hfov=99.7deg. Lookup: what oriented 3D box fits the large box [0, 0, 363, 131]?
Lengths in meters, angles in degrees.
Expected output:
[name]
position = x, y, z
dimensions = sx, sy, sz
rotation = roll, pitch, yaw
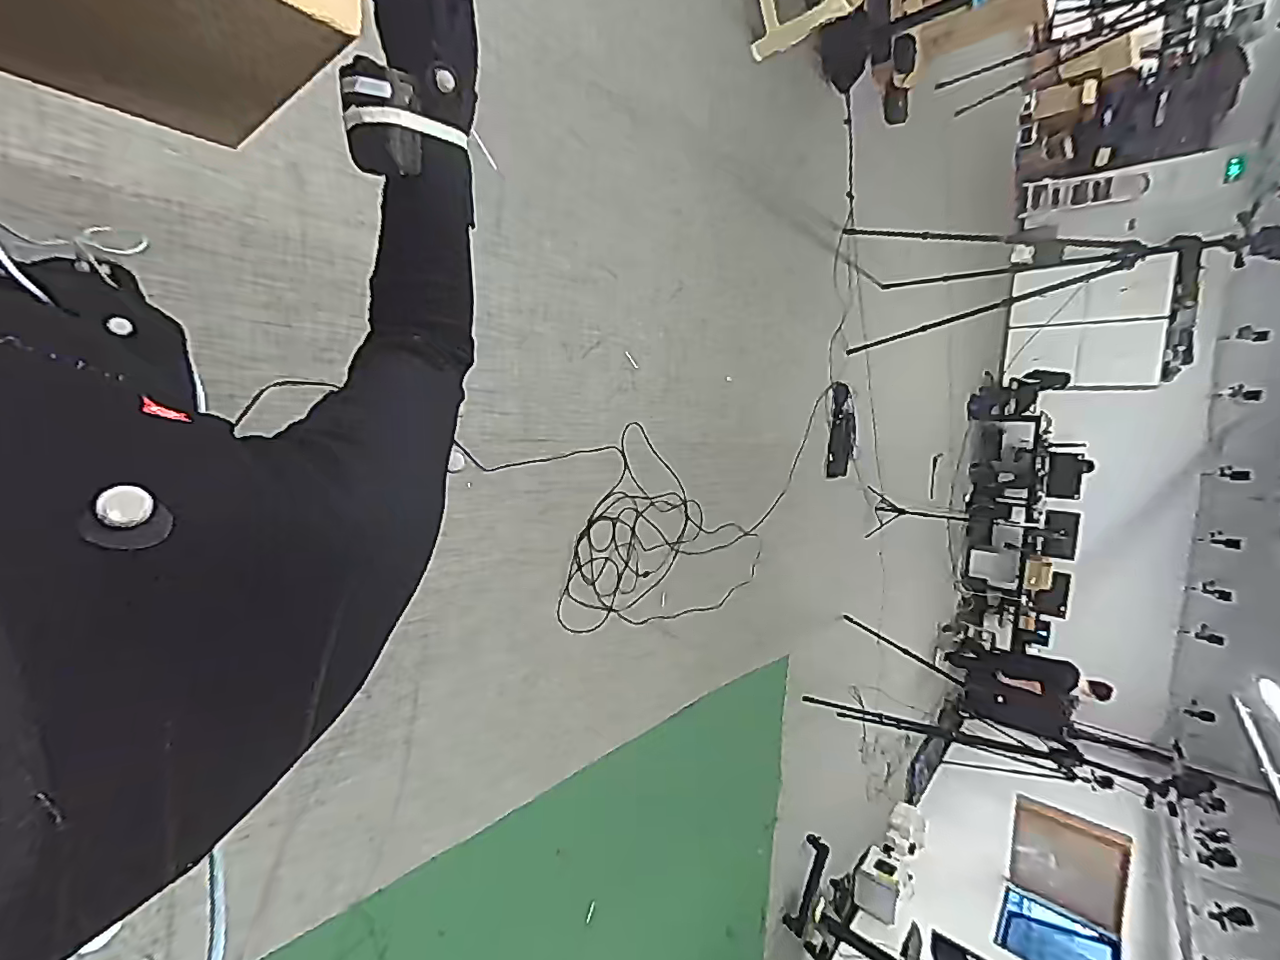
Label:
[large box]
position = -0.415, -0.457, 0.278
dimensions = 0.408, 0.320, 0.320
rotation = -6, 105, -49
